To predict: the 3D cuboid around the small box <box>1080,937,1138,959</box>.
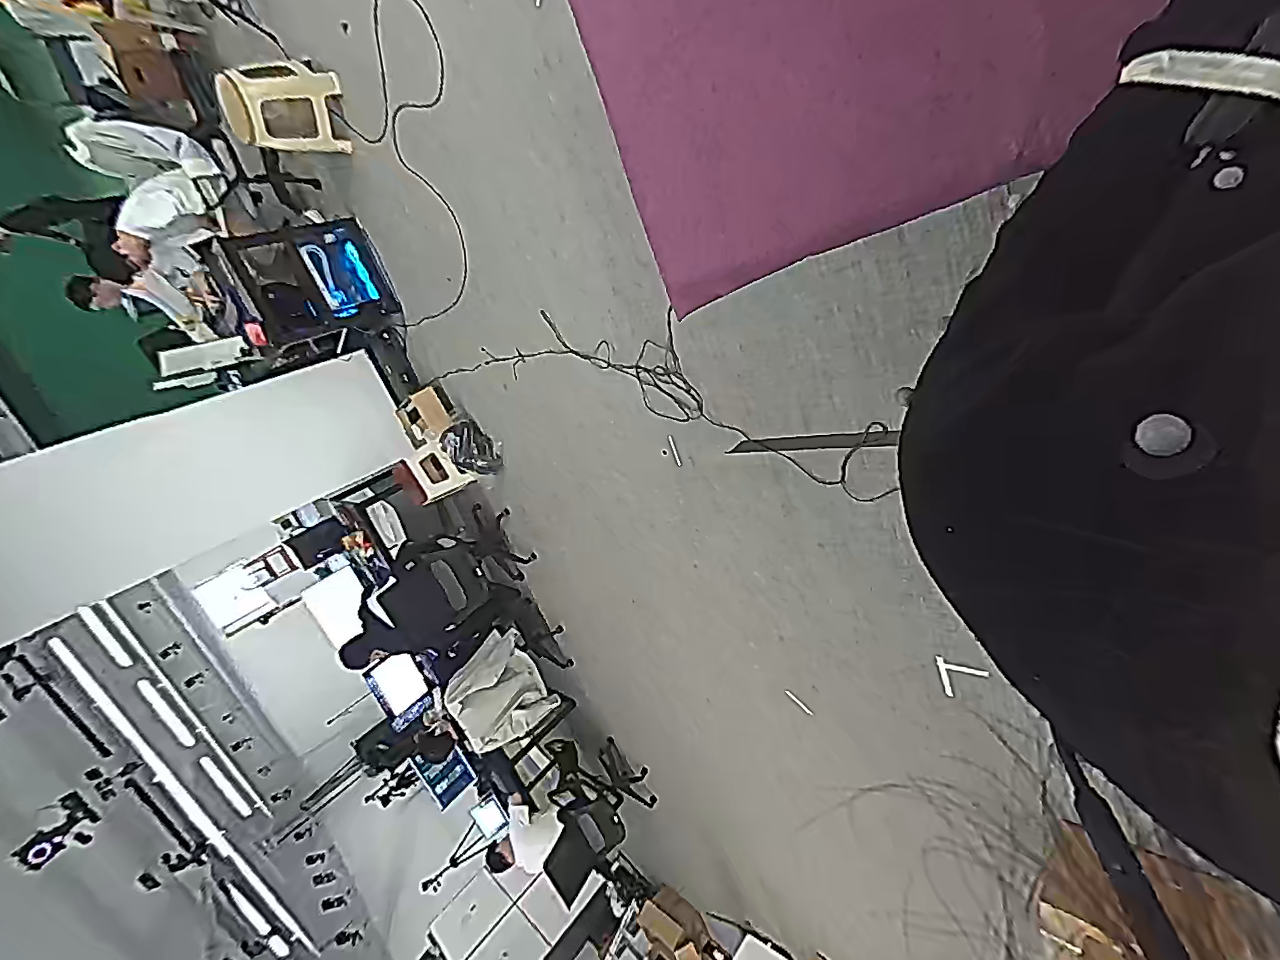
[{"bbox_3d":[1.342,1.441,1.506,0.179,0.176,0.168,-1,115,50],"label":"small box"}]
